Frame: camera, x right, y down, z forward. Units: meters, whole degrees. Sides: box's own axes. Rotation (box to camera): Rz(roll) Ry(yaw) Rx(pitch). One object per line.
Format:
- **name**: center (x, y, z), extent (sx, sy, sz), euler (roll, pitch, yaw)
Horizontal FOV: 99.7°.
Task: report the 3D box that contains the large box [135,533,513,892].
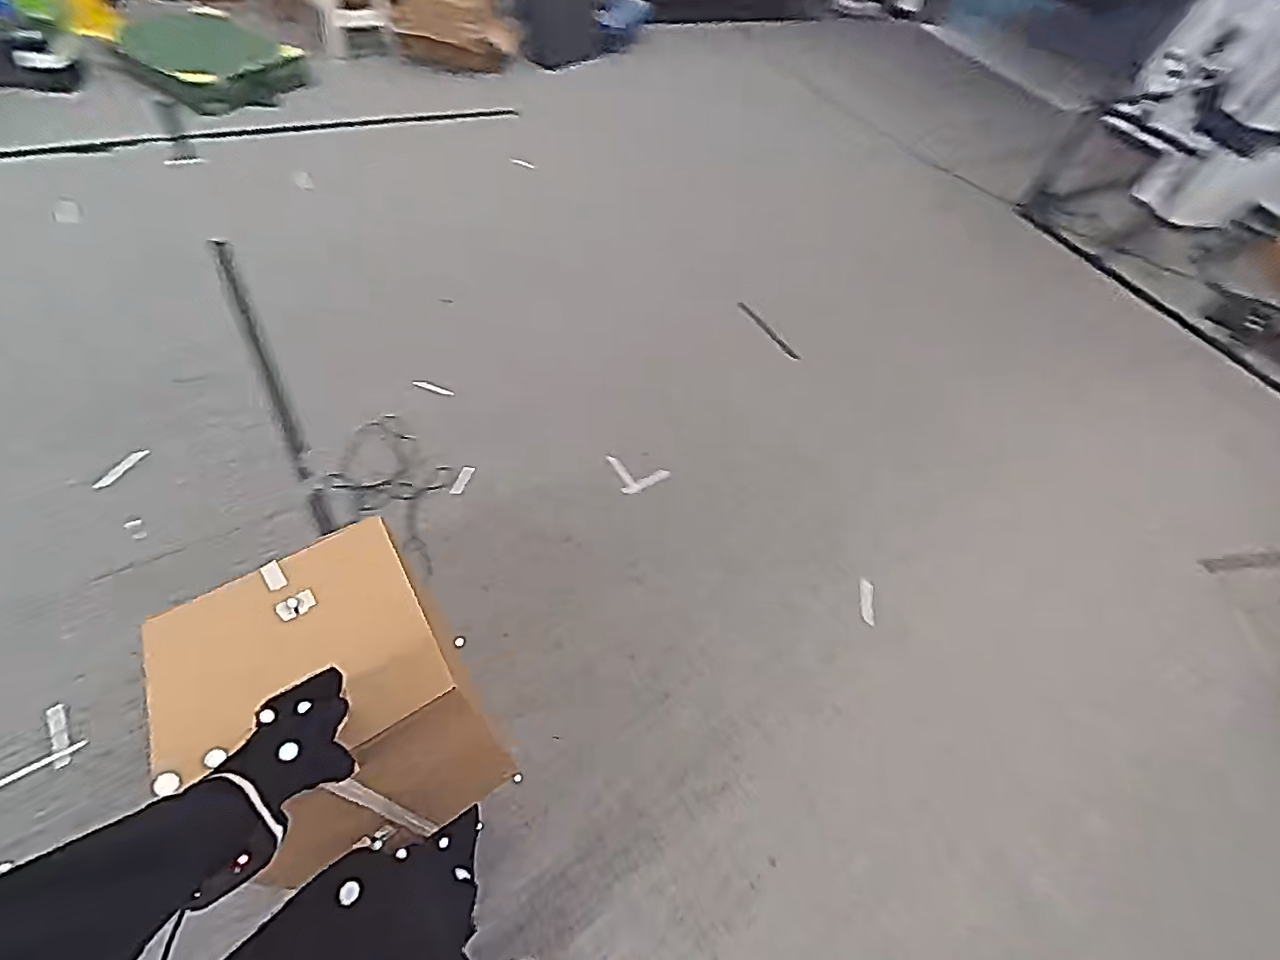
- **large box**: center (-0.439, 0.356, 0.822), extent (0.320, 0.408, 0.320), euler (-29, 55, -20)
